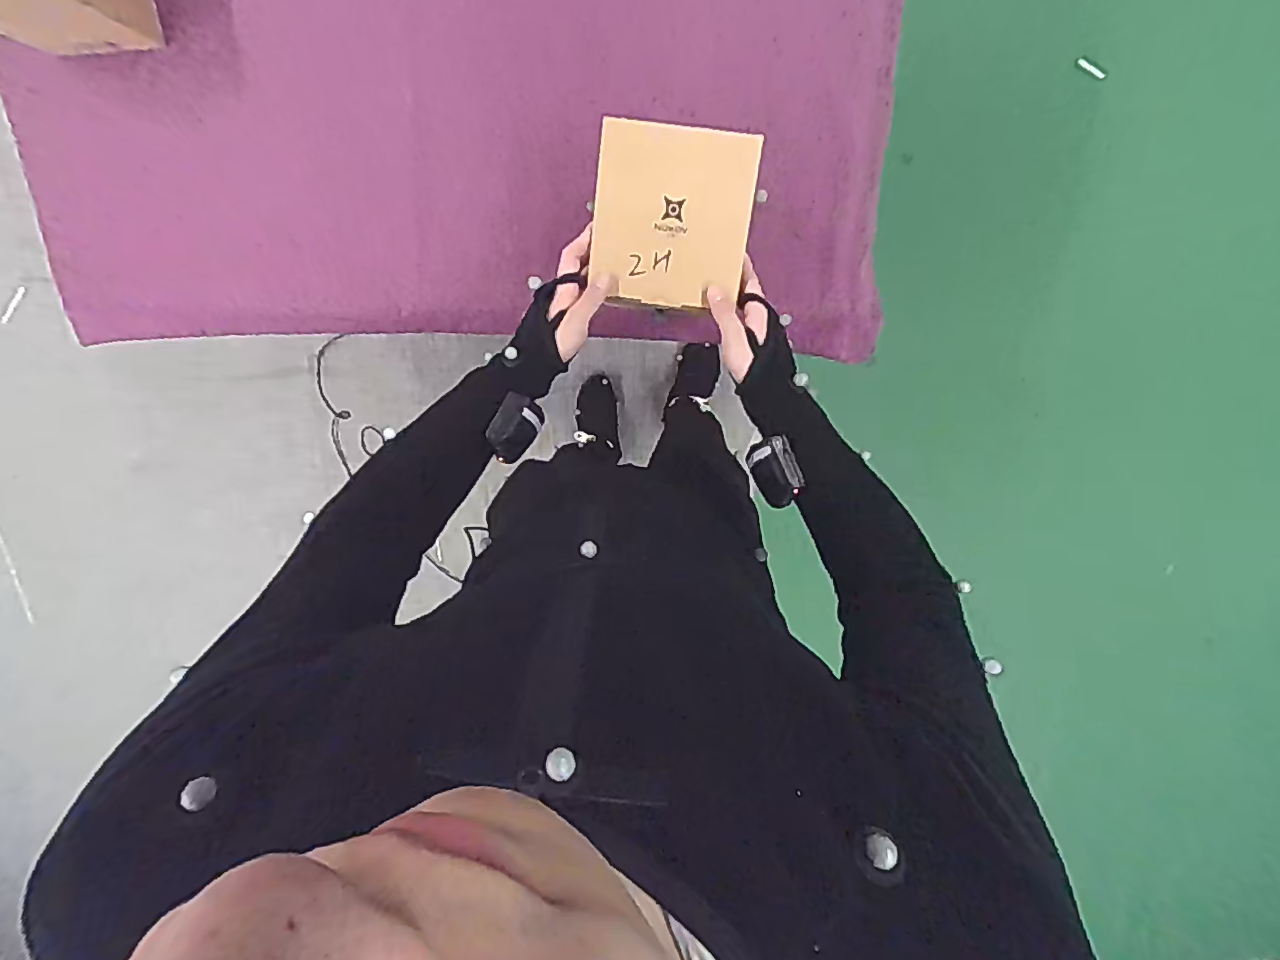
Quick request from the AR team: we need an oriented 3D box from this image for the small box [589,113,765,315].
[{"bbox_3d":[0.039,-0.298,0.644,0.168,0.176,0.179,8,106,1],"label":"small box"}]
